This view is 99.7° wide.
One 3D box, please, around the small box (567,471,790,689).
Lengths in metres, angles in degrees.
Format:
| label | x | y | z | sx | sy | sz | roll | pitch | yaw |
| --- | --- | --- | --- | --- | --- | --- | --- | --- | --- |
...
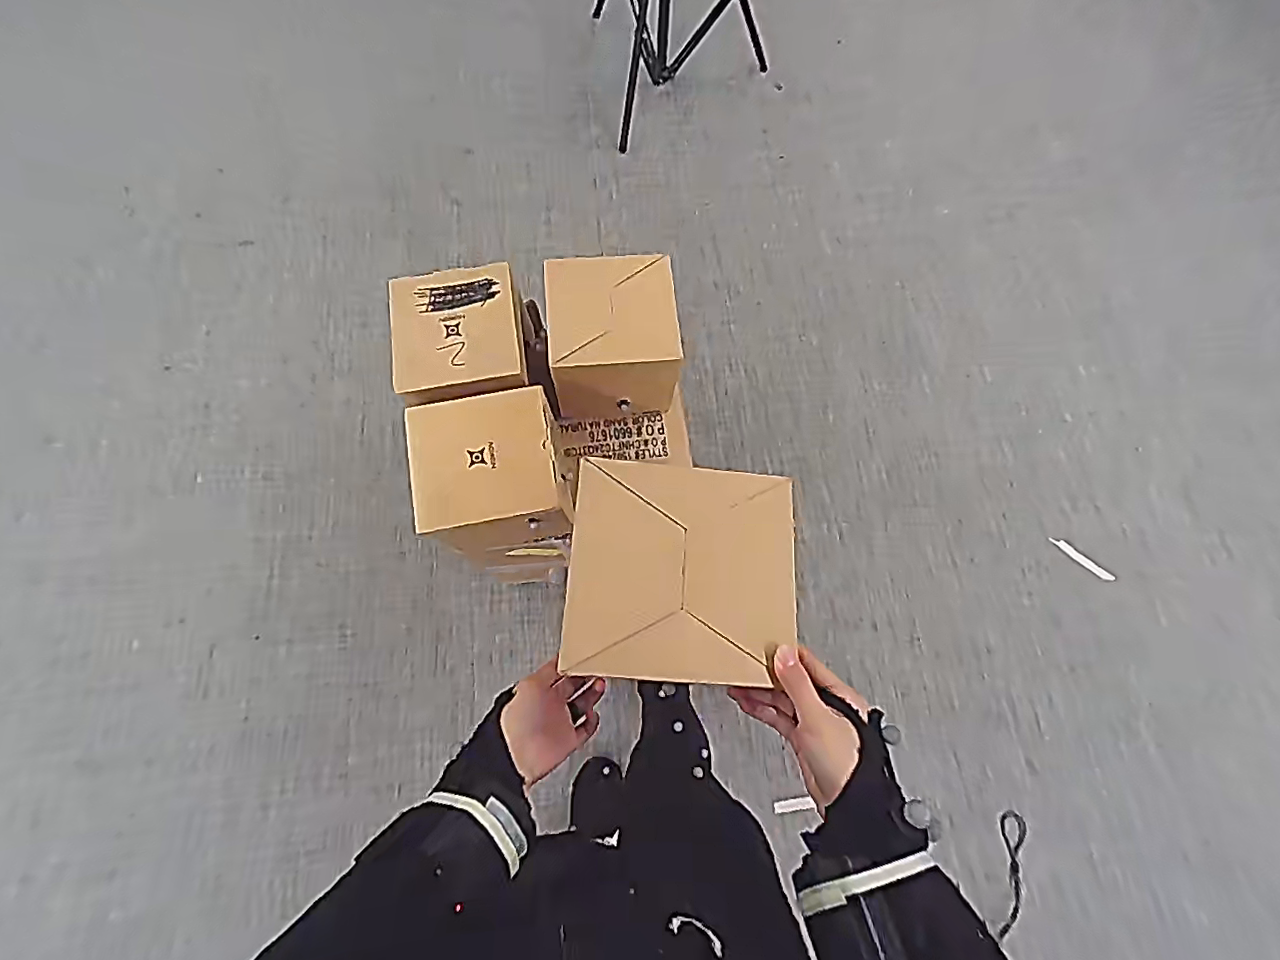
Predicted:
| label | x | y | z | sx | sy | sz | roll | pitch | yaw |
| --- | --- | --- | --- | --- | --- | --- | --- | --- | --- |
| small box | 0.027 | 0.100 | 0.500 | 0.179 | 0.176 | 0.168 | 6 | 70 | -6 |
